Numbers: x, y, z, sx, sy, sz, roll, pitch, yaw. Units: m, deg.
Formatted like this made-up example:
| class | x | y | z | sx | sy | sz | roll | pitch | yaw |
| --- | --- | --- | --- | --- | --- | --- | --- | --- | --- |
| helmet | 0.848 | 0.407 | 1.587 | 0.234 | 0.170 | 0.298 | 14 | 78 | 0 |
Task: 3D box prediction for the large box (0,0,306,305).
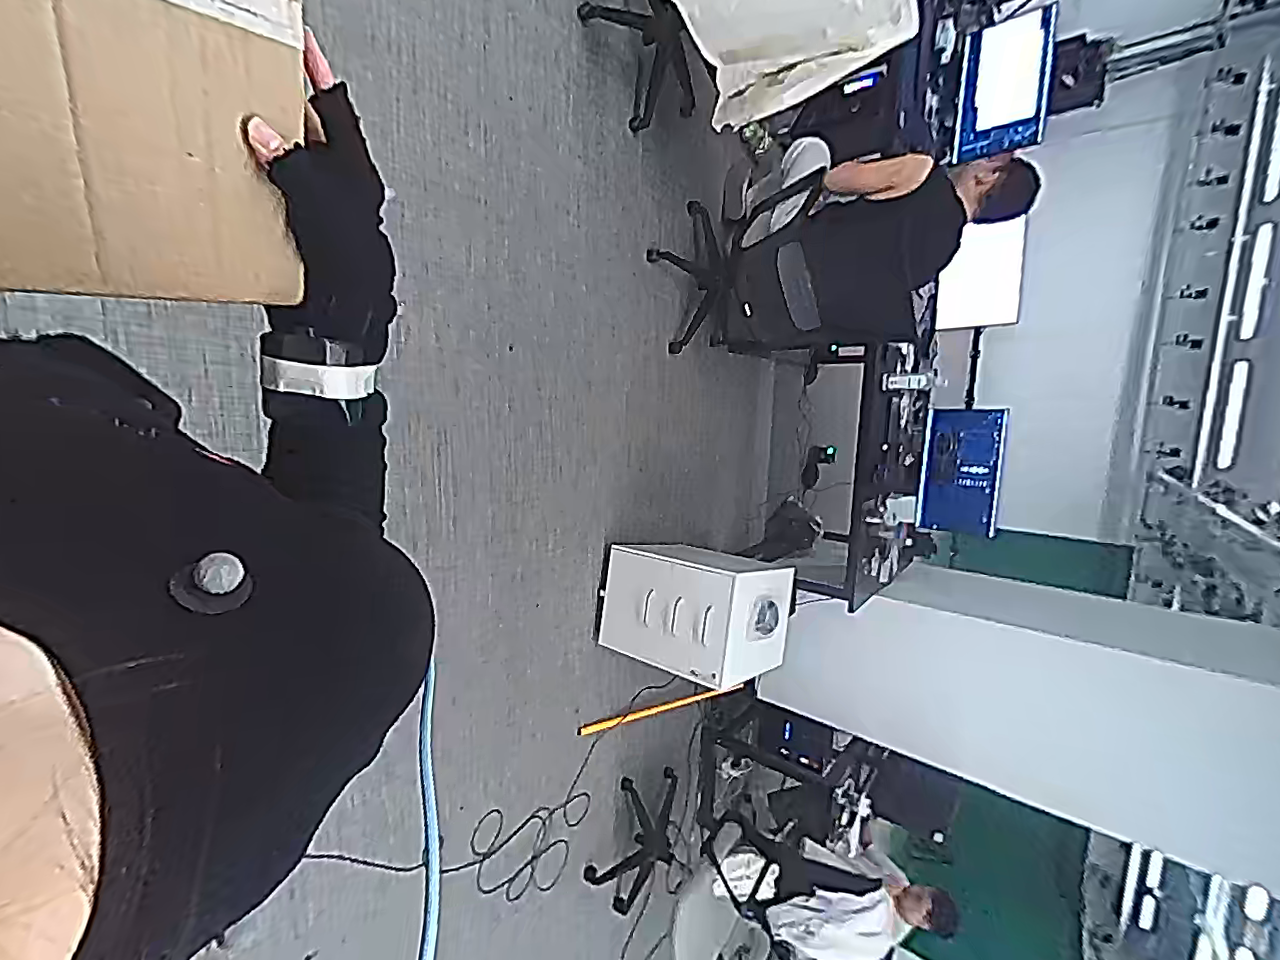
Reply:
| class | x | y | z | sx | sy | sz | roll | pitch | yaw |
| --- | --- | --- | --- | --- | --- | --- | --- | --- | --- |
| large box | -0.434 | -0.286 | 0.243 | 0.408 | 0.320 | 0.320 | -16 | 132 | -47 |
